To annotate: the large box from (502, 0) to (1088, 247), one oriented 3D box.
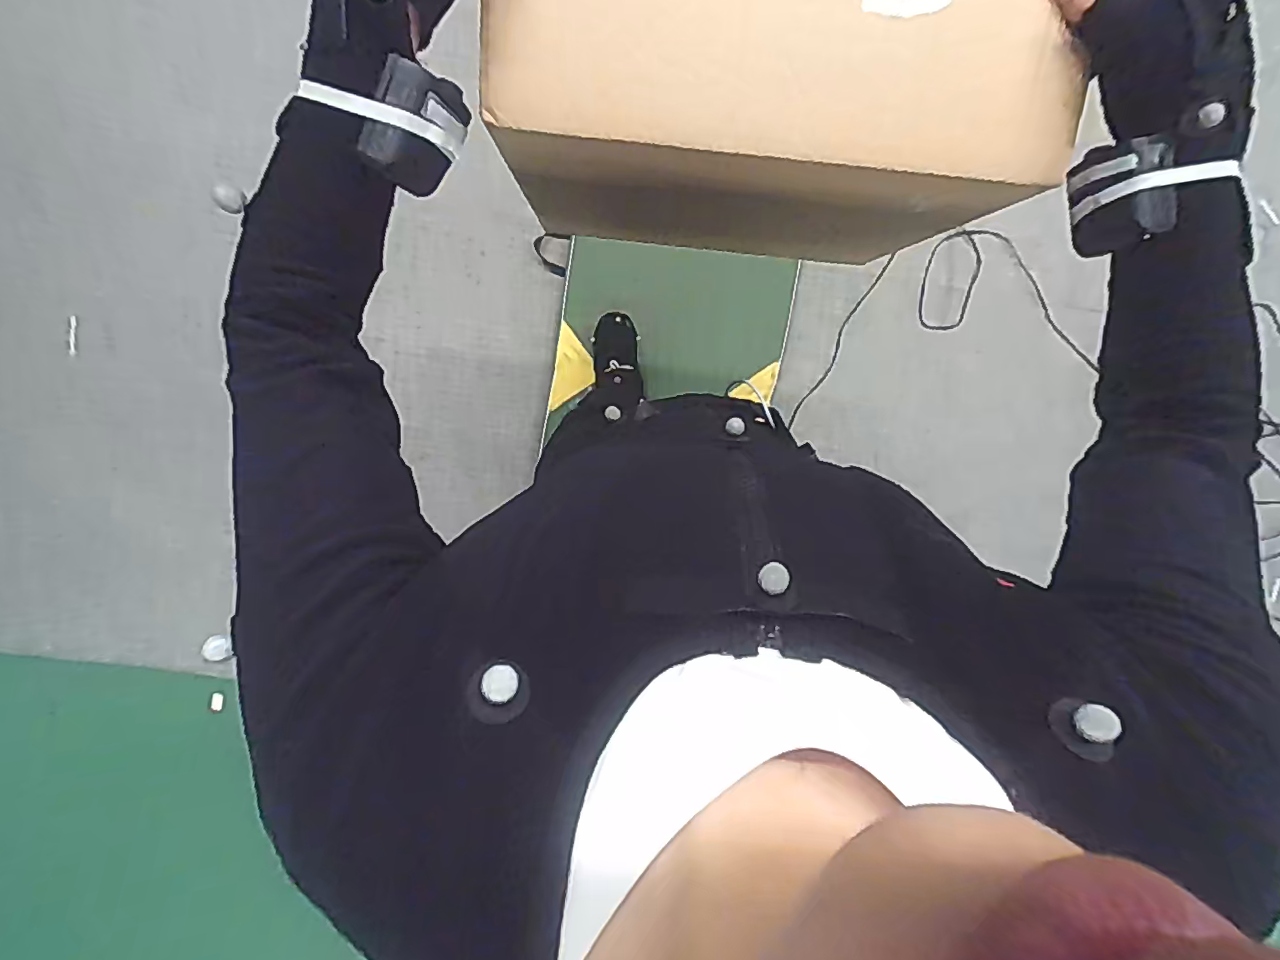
[{"bbox_3d":[0.102,-0.418,0.492,0.408,0.320,0.320,4,103,-4],"label":"large box"}]
